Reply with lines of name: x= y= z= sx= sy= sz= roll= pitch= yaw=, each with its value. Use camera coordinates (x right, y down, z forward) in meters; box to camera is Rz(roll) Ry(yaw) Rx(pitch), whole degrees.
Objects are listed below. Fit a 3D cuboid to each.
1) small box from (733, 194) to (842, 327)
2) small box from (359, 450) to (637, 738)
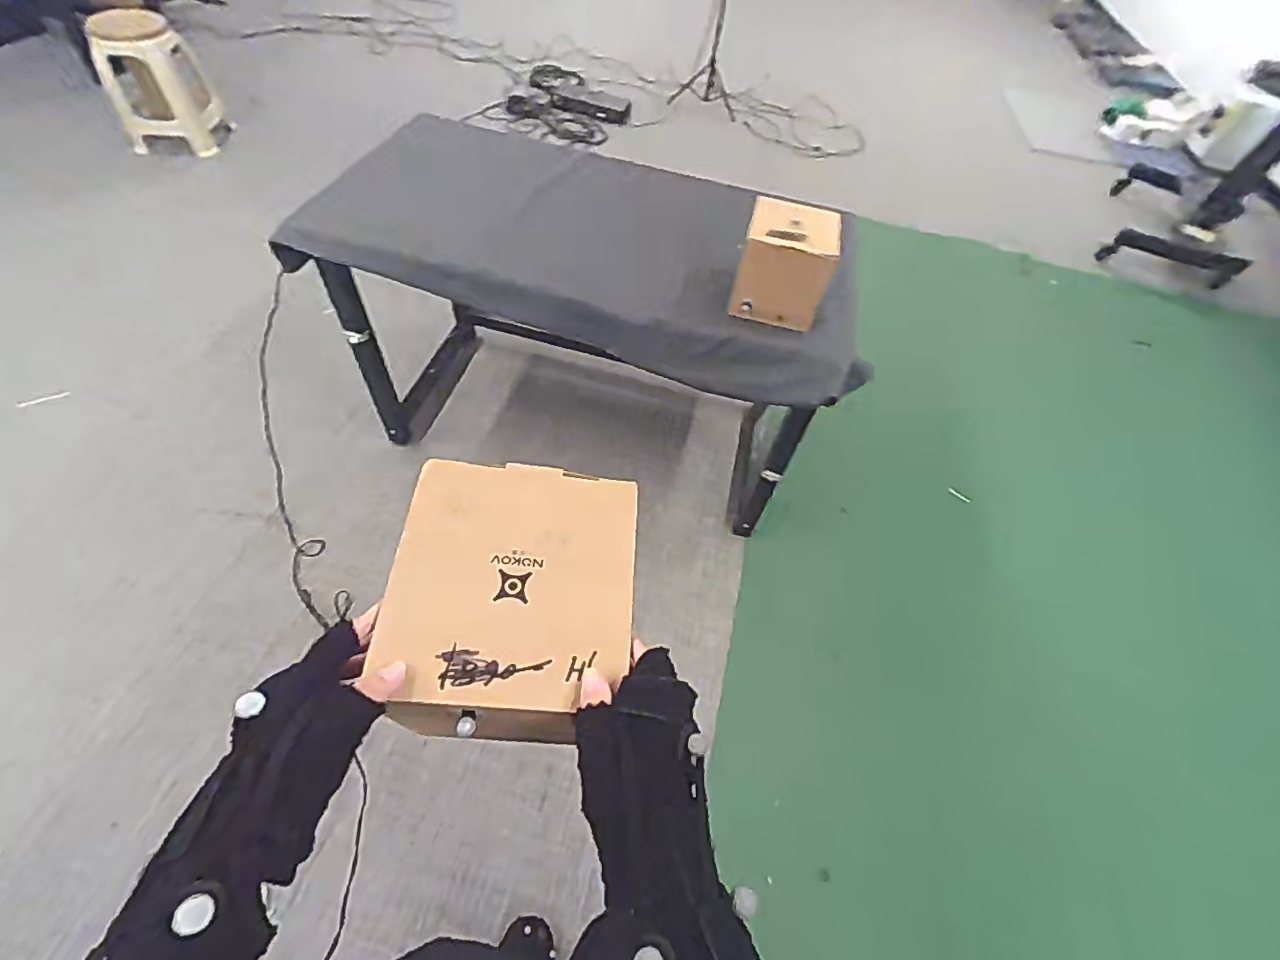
small box: x=0.291 y=-0.436 z=1.084 sx=0.168 sy=0.176 sz=0.179 roll=15 pitch=53 yaw=4
small box: x=-0.099 y=0.101 z=0.444 sx=0.168 sy=0.176 sz=0.179 roll=6 pitch=57 yaw=-6
